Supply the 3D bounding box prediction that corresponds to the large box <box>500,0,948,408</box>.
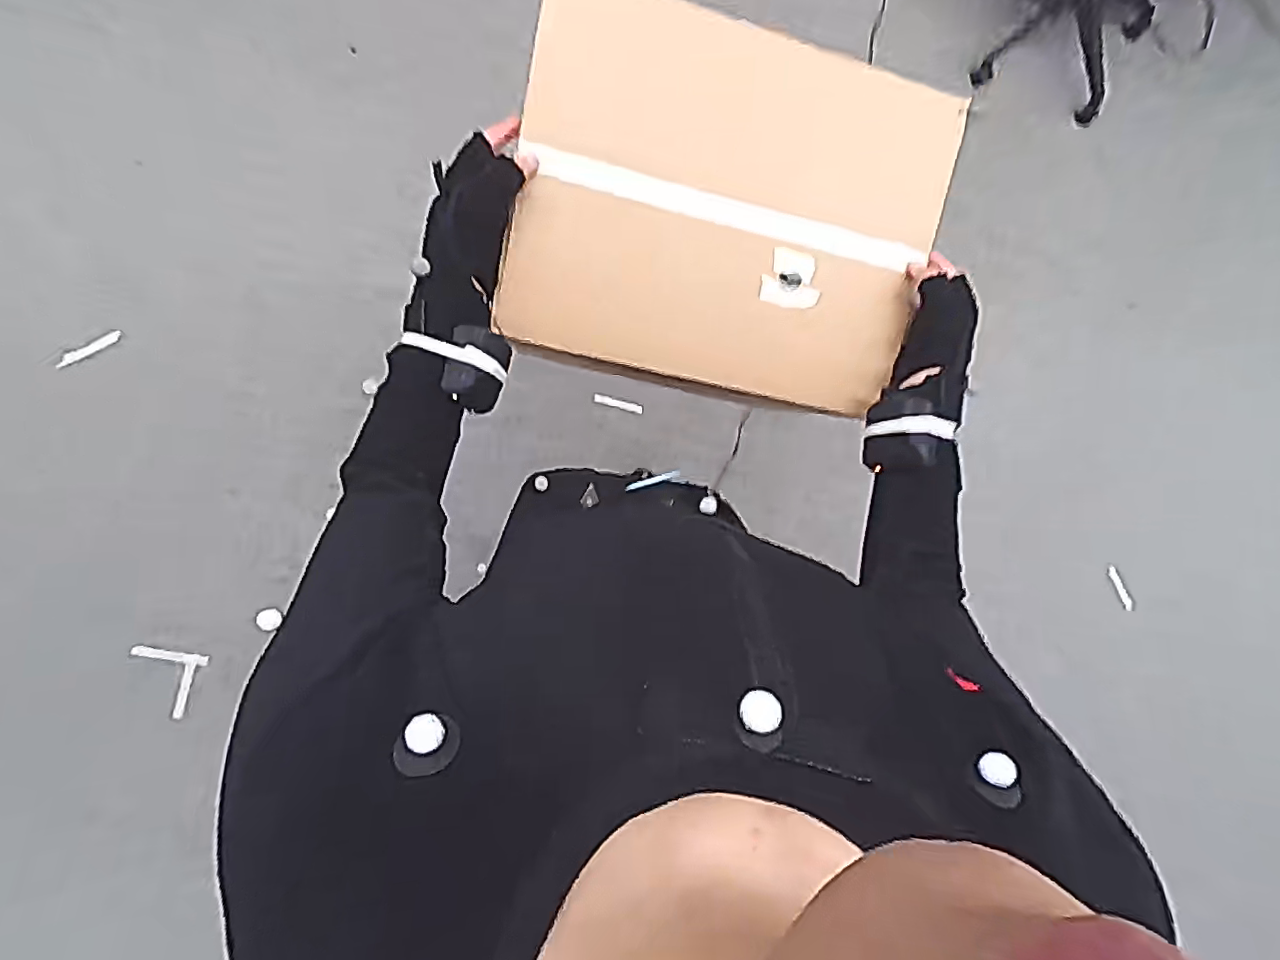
[{"bbox_3d":[0.063,-0.282,0.668,0.408,0.320,0.320,11,99,-10],"label":"large box"}]
